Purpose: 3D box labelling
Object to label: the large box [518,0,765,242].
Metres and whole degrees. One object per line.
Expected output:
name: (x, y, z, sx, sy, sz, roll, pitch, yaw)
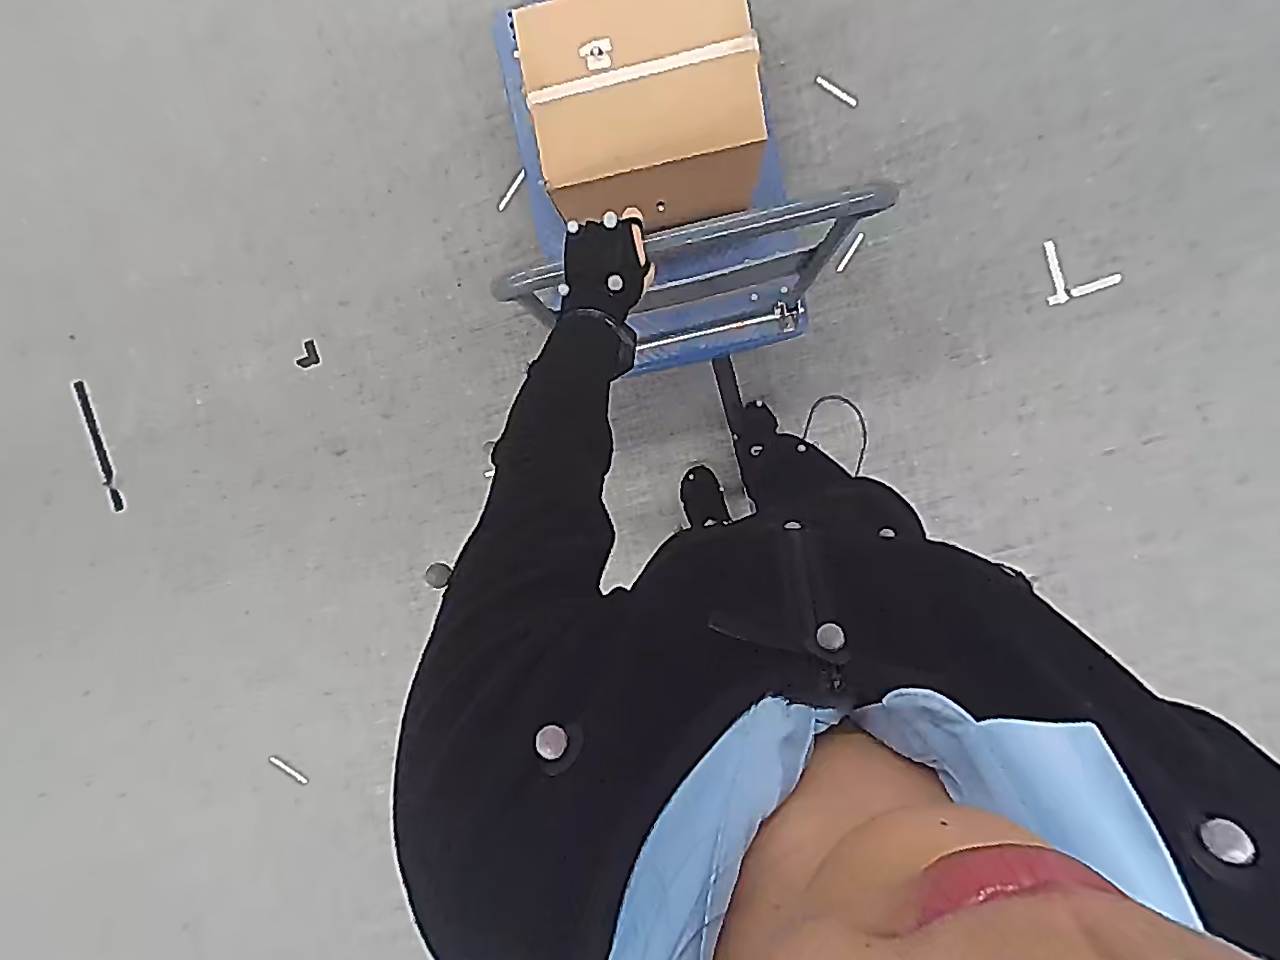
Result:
large box: (0.016, -0.732, 1.110, 0.408, 0.320, 0.320, -10, 94, 7)
